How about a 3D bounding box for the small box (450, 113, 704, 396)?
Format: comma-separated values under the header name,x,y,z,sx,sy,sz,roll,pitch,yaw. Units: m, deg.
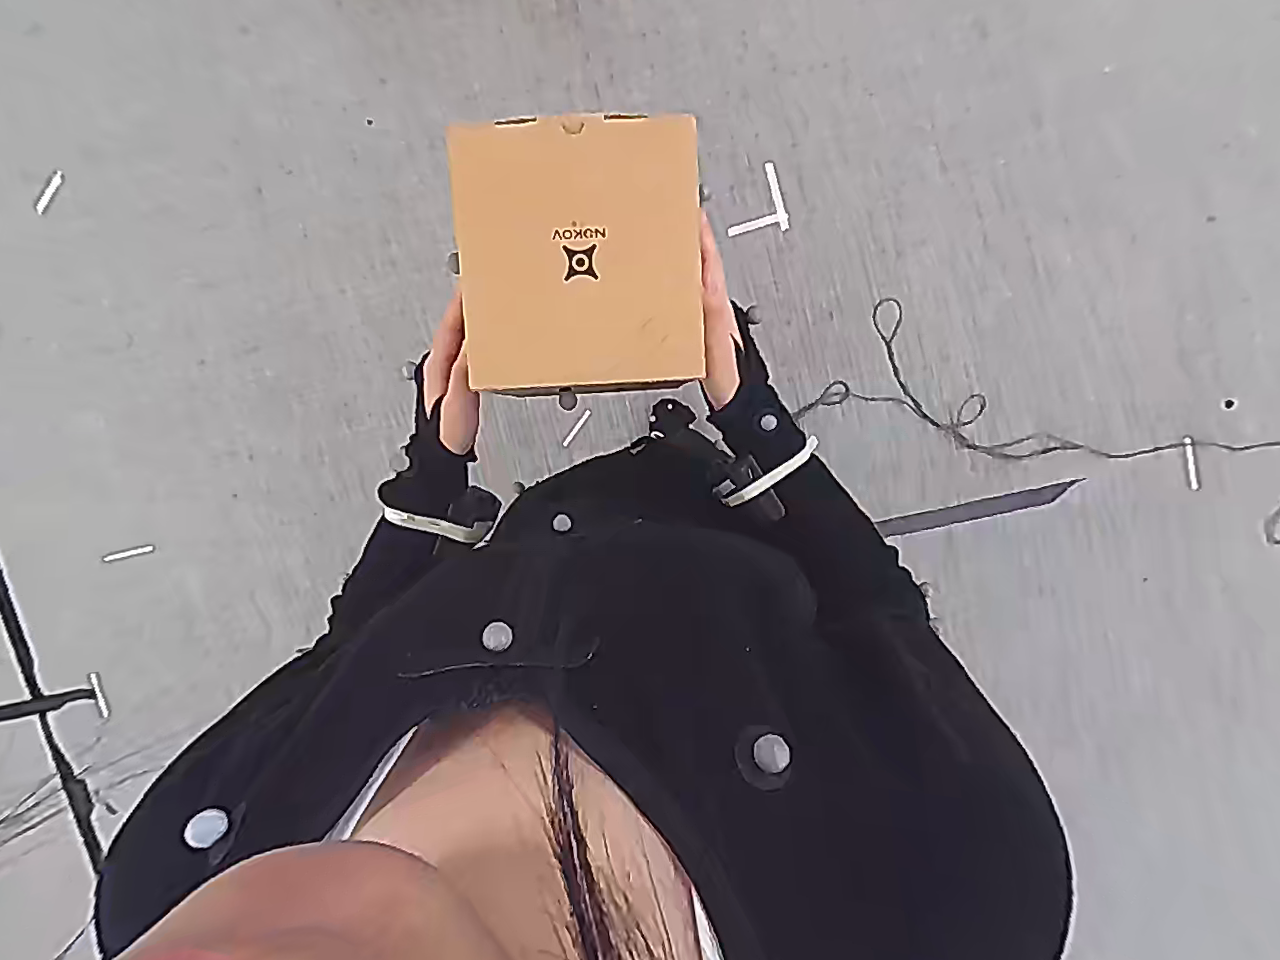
name,x,y,z,sx,sy,sz,roll,pitch,yaw
small box,-0.041,-0.161,0.445,0.168,0.176,0.179,-4,96,-1
